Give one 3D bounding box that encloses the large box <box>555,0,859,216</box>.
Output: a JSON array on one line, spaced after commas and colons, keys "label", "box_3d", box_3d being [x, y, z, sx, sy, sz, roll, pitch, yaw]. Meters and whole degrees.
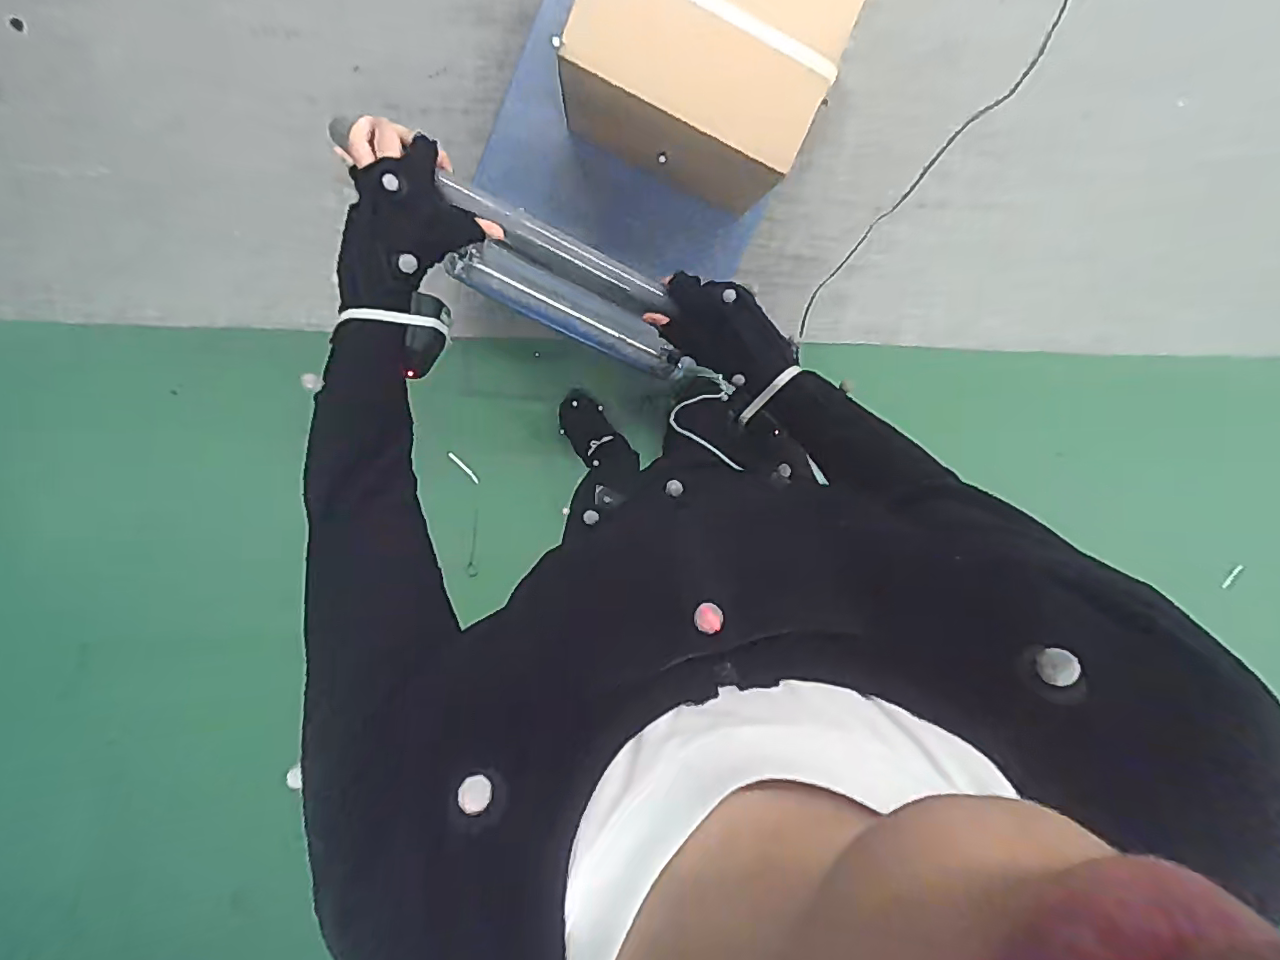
[{"label": "large box", "box_3d": [0.102, -0.737, 0.971, 0.408, 0.320, 0.320, 23, 100, -8]}]
